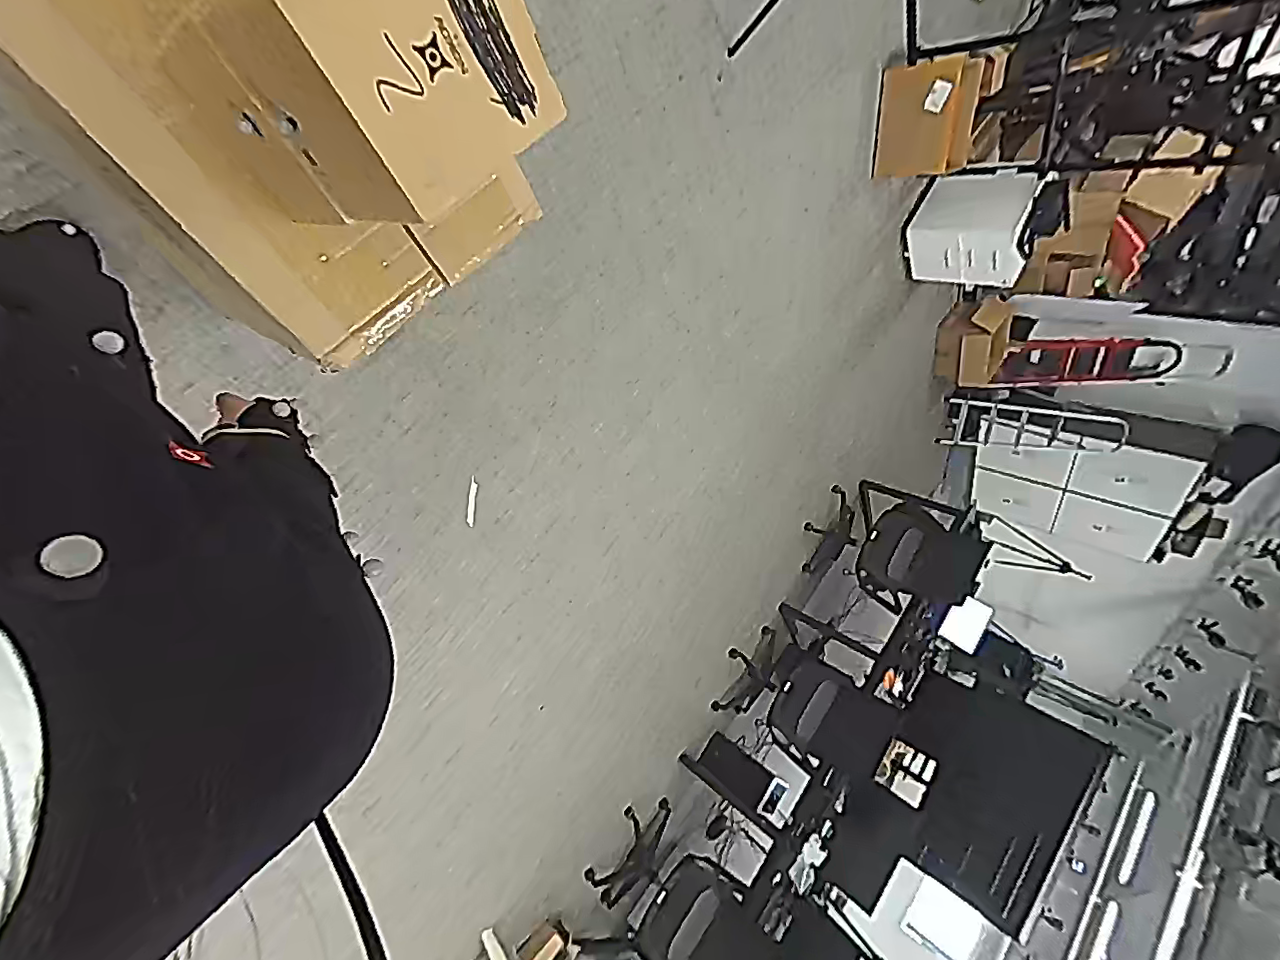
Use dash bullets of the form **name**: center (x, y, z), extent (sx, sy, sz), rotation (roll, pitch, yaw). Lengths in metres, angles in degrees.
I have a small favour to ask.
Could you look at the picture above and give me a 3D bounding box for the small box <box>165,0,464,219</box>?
- **small box**: center (-0.324, -0.389, 0.548), extent (0.168, 0.176, 0.179), rotation (-49, 139, -19)
